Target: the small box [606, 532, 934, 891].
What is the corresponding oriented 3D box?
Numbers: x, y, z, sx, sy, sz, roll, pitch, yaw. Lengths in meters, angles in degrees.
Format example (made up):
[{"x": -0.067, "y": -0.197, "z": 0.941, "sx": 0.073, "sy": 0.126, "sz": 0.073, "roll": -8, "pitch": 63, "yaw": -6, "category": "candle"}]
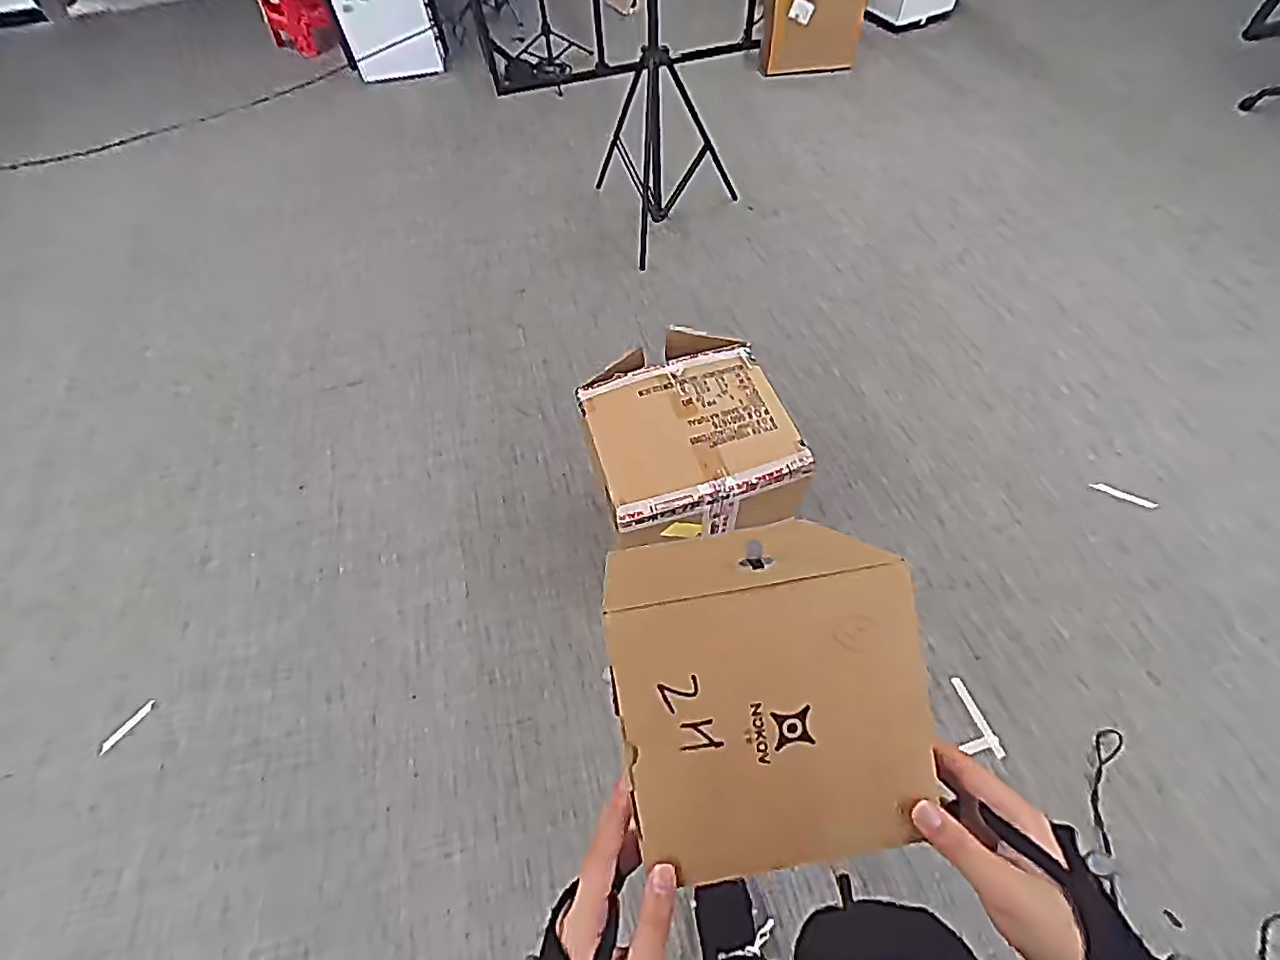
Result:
[{"x": 0.073, "y": 0.139, "z": 0.389, "sx": 0.179, "sy": 0.176, "sz": 0.168, "roll": -9, "pitch": 93, "yaw": -1, "category": "small box"}]
